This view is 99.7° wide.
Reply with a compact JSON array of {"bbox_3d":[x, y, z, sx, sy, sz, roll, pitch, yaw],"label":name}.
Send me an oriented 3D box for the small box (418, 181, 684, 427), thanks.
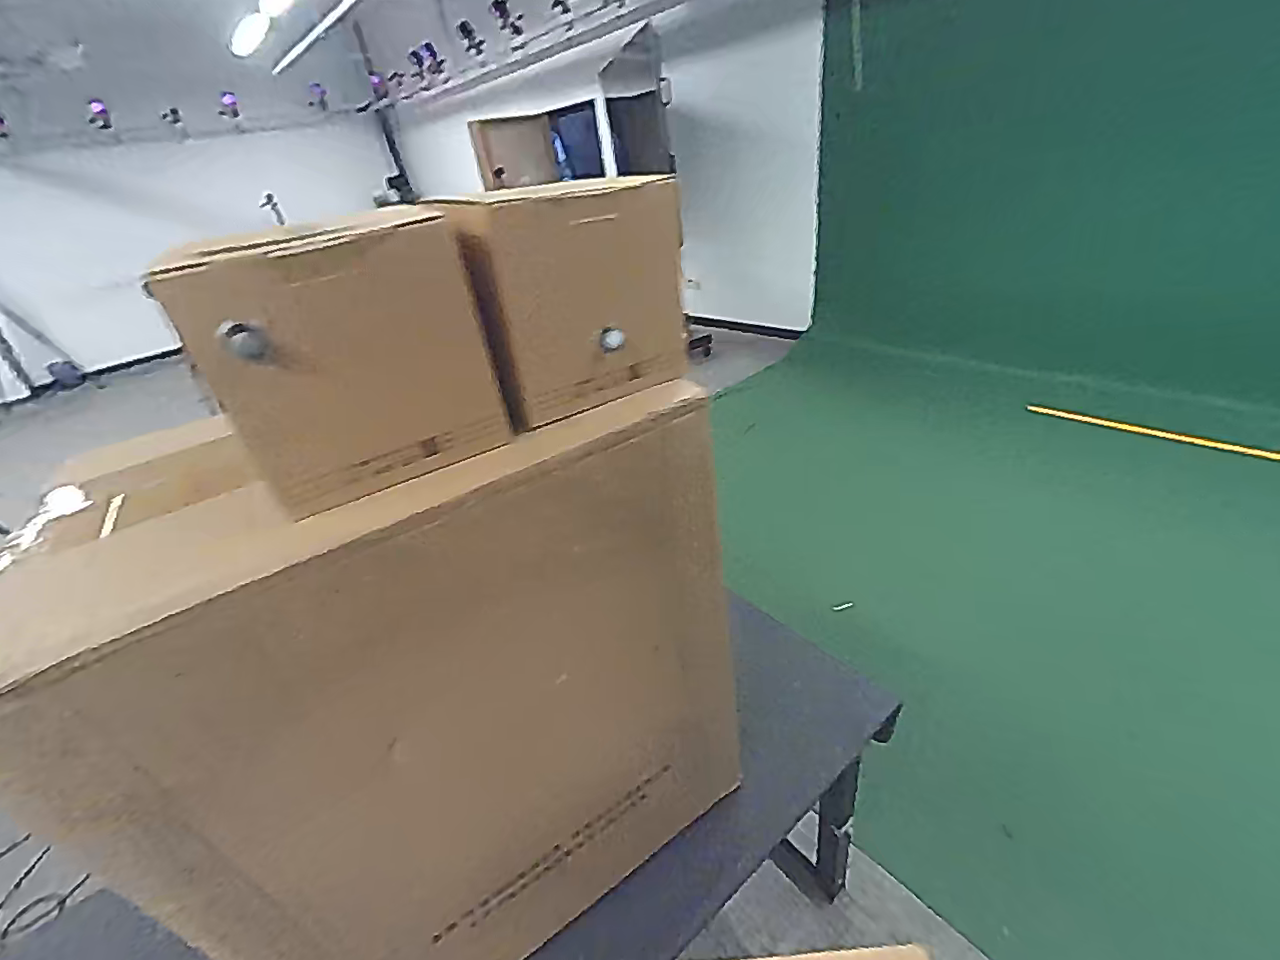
[{"bbox_3d":[-0.077,-0.166,0.492,0.168,0.176,0.179,-25,37,-26],"label":"small box"}]
